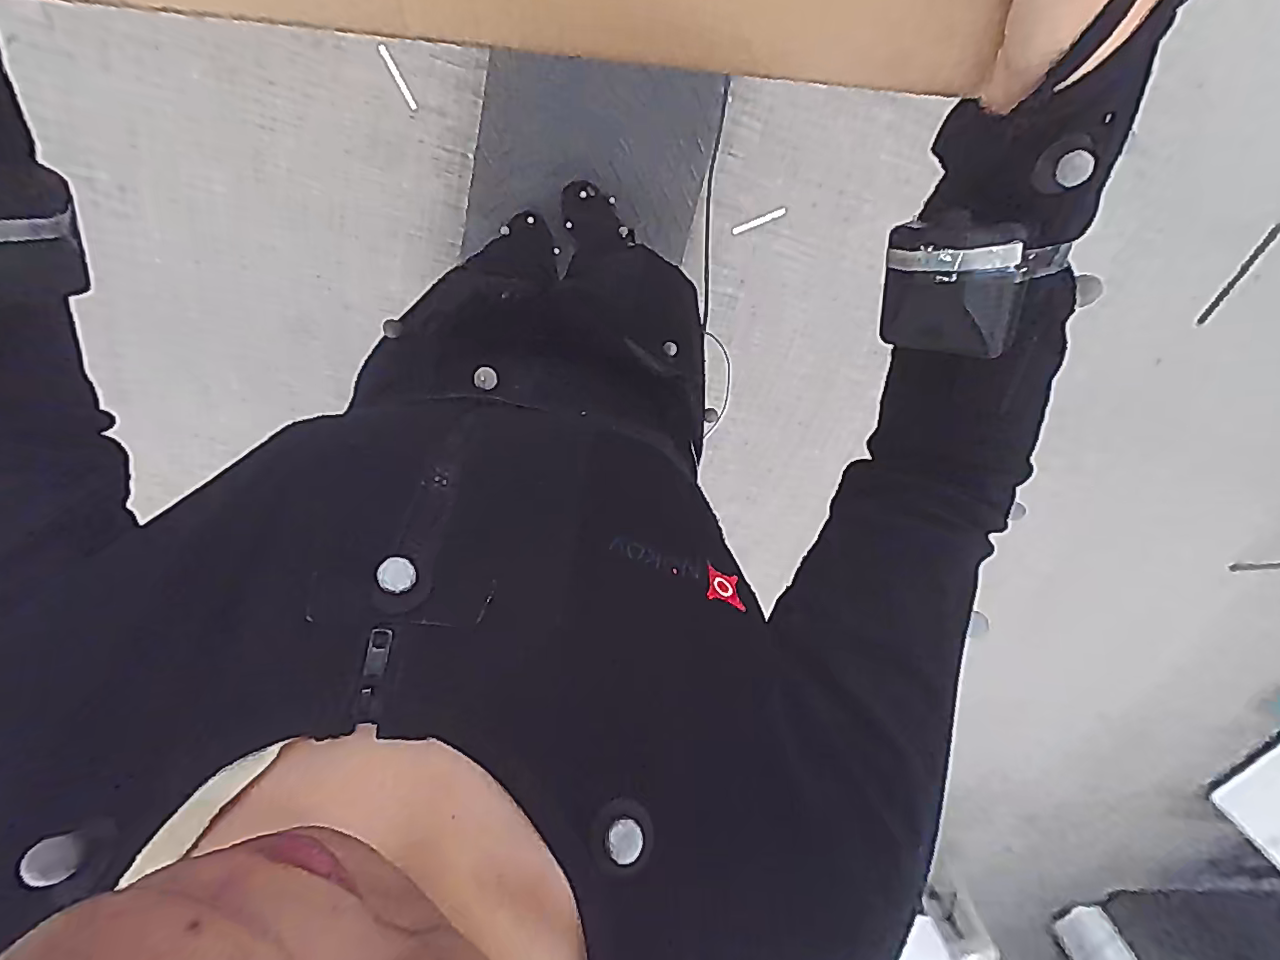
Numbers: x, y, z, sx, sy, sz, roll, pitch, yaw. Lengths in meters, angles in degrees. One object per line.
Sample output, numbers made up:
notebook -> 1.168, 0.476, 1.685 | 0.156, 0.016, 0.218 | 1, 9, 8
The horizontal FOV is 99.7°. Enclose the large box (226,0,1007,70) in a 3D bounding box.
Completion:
large box -> -0.042, -0.400, 0.212 | 0.408, 0.320, 0.320 | 3, 138, -6
